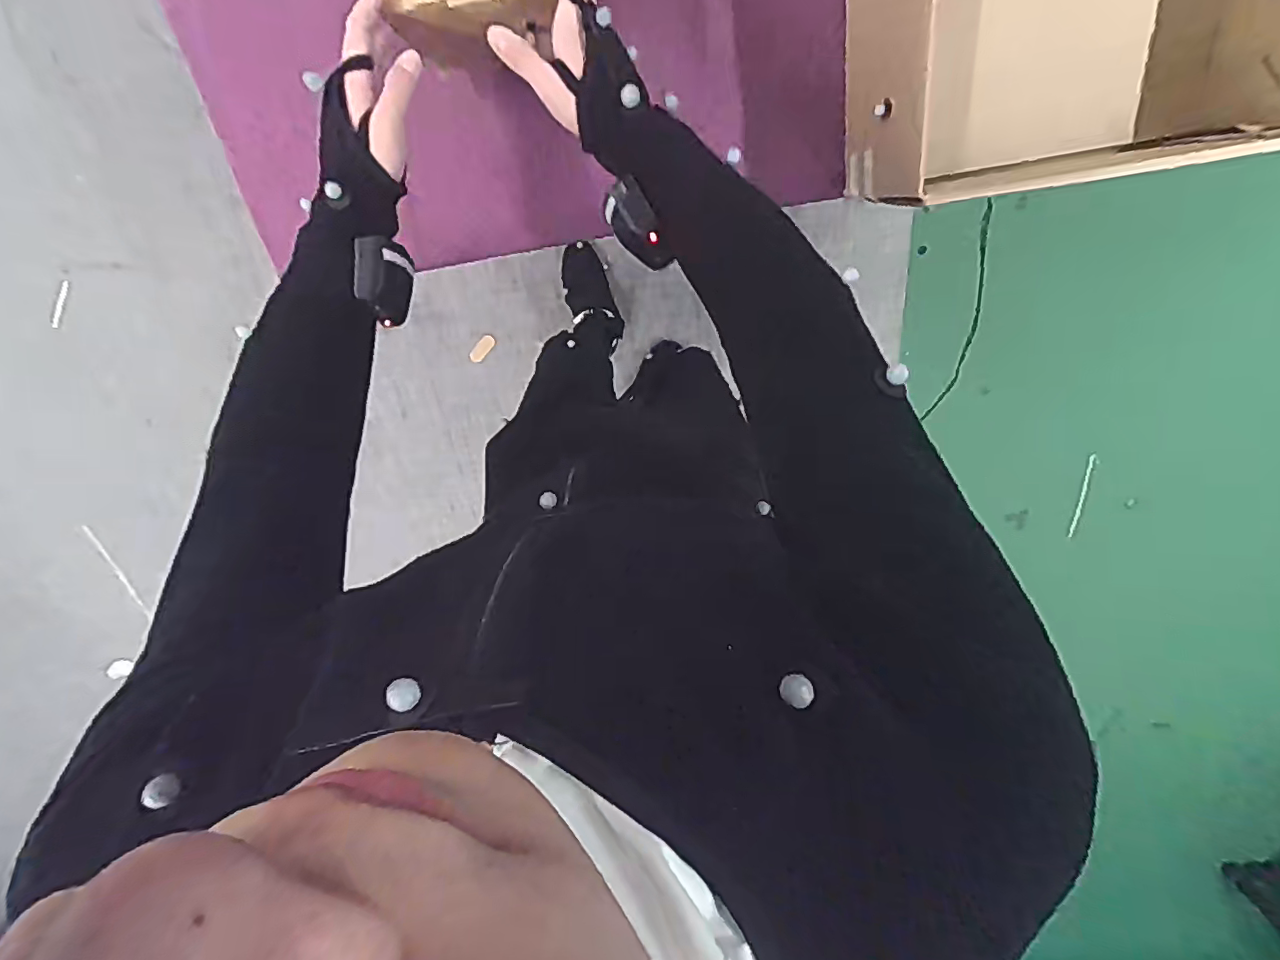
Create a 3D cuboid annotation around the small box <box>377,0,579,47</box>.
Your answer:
[{"bbox_3d":[-0.155,-0.523,0.486,0.168,0.176,0.179,-7,113,3],"label":"small box"}]
